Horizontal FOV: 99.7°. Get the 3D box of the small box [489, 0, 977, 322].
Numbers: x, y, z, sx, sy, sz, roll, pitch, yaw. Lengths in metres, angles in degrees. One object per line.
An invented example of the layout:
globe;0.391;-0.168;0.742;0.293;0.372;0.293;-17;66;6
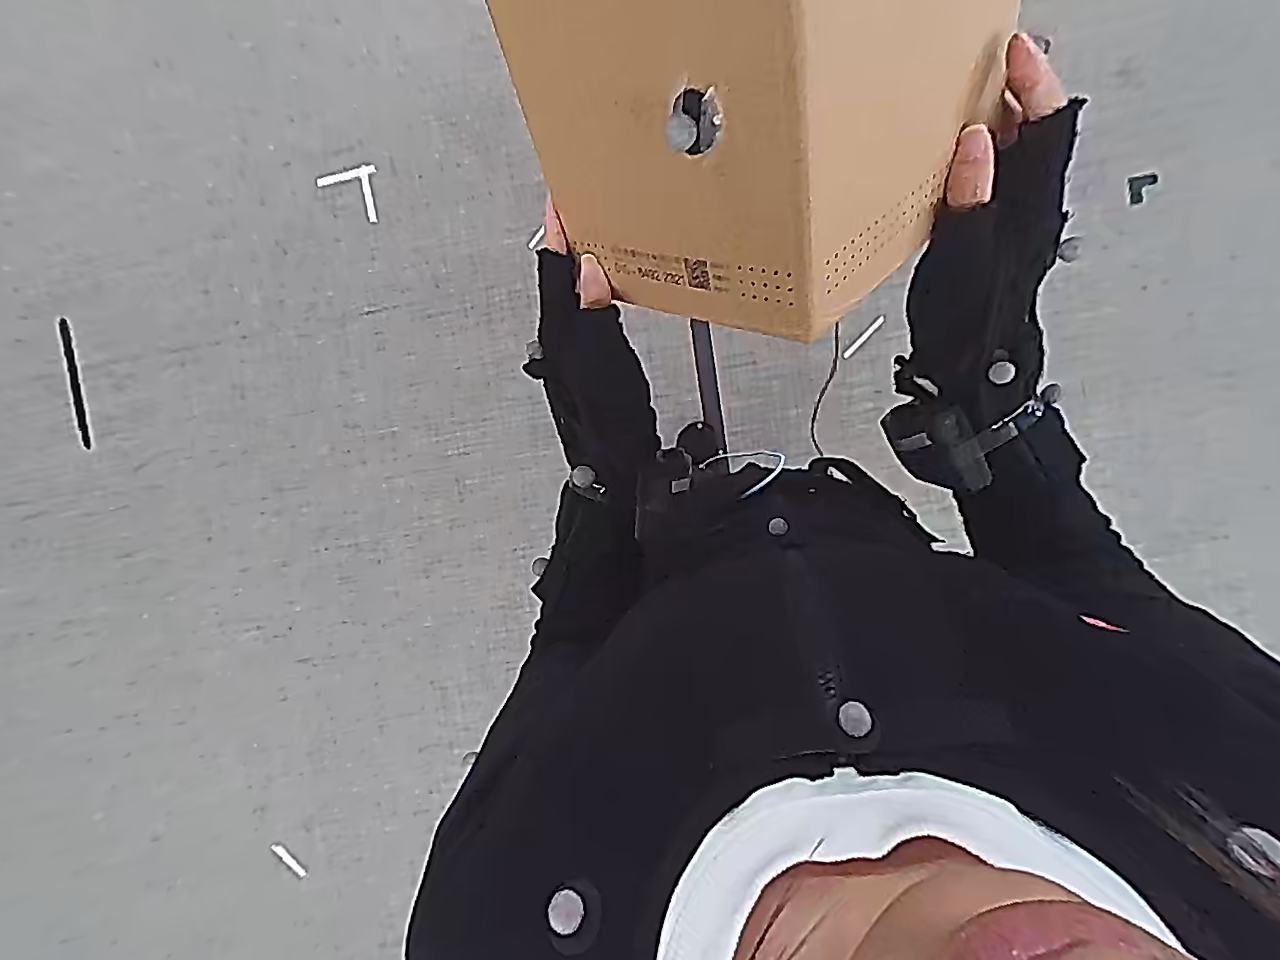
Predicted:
small box;0.058;-0.206;0.284;0.179;0.176;0.168;-40;46;-22
